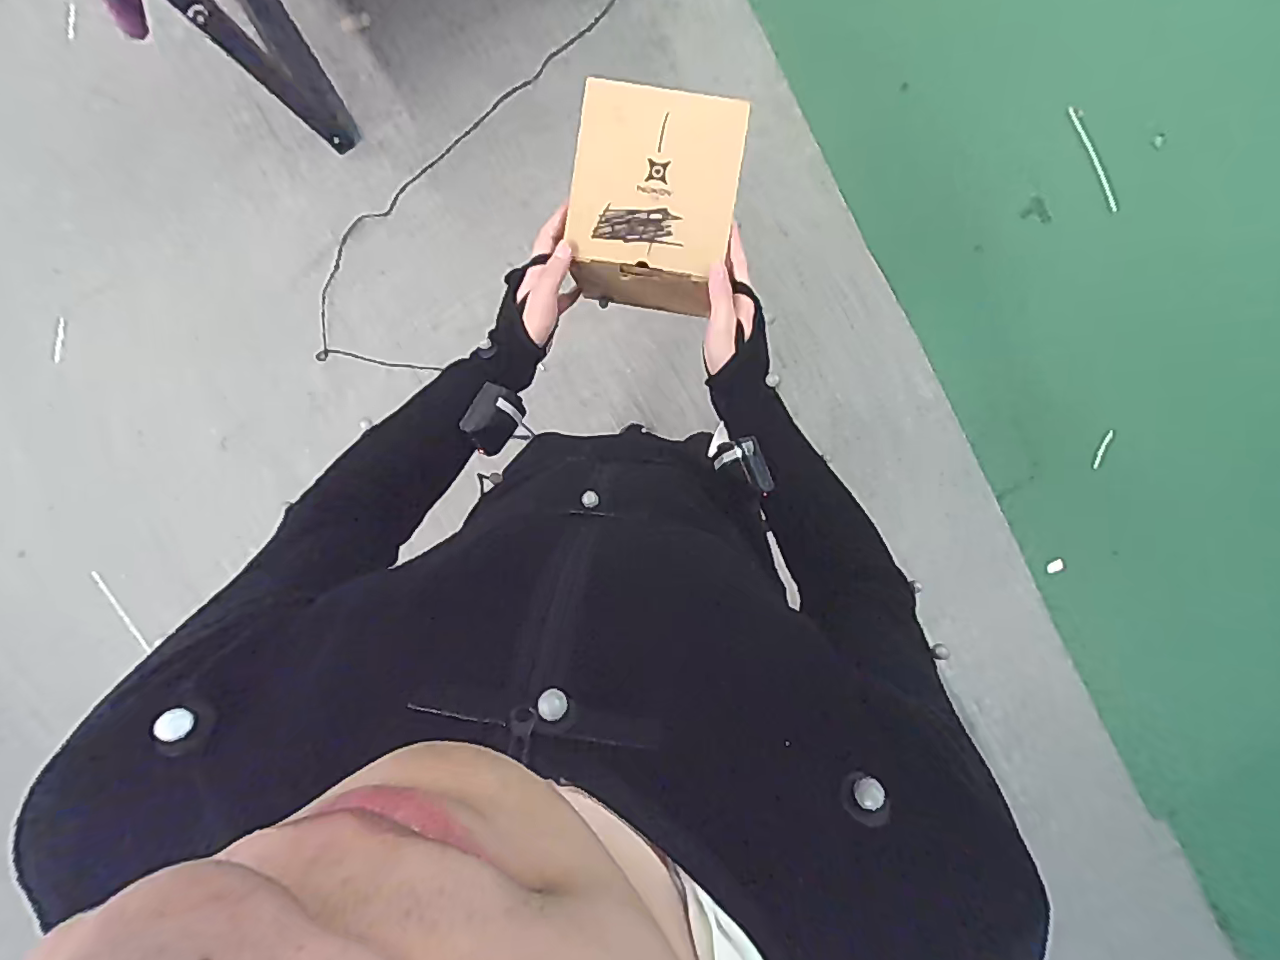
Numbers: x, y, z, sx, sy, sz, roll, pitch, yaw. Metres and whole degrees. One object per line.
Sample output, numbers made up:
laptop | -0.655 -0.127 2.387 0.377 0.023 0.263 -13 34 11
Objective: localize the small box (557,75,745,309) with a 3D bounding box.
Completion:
small box | 0.012 -0.304 0.611 0.168 0.176 0.179 9 95 0
